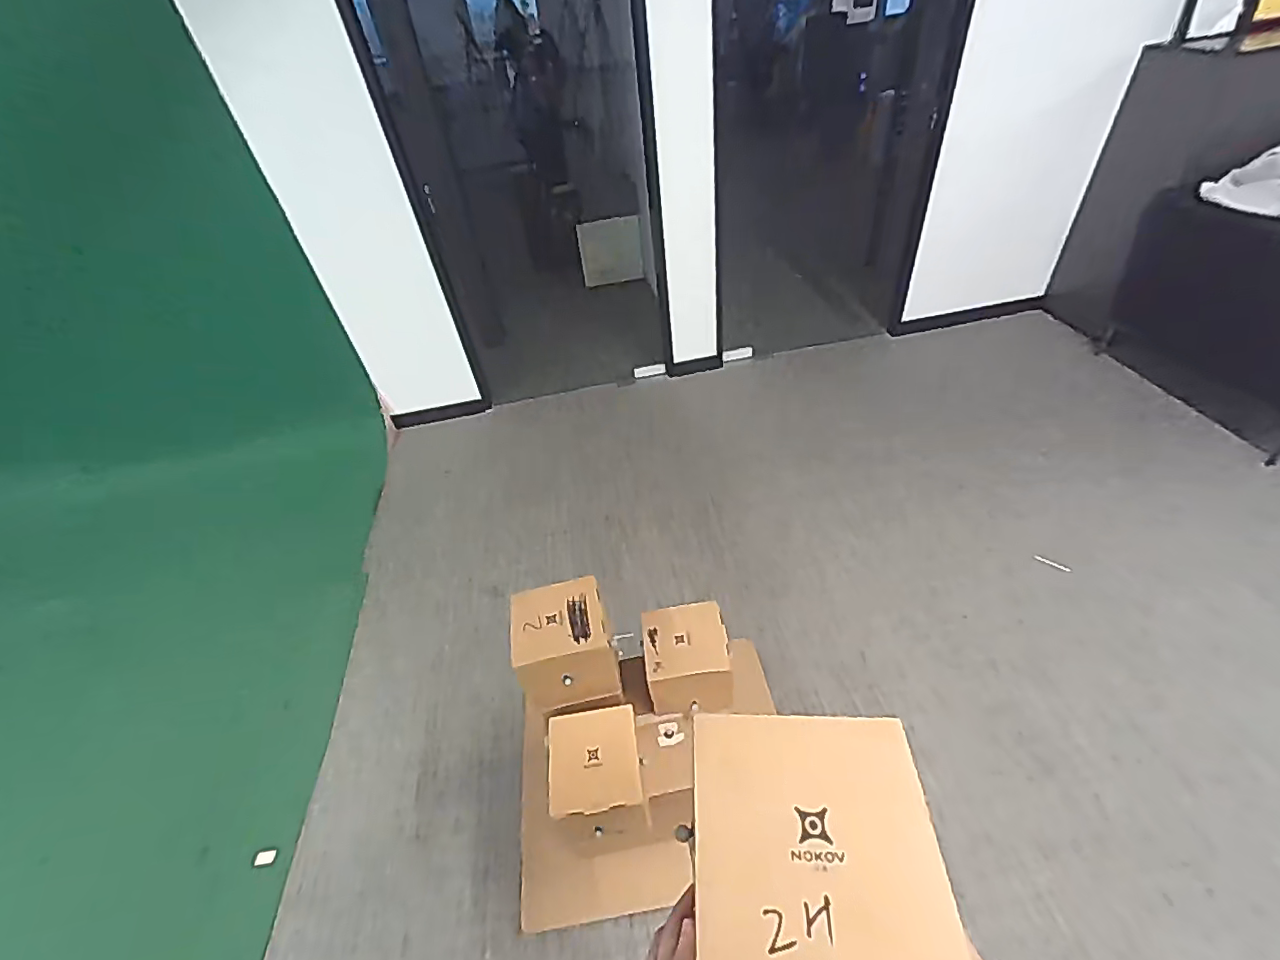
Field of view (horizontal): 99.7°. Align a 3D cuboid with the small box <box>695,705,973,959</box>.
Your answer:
[{"bbox_3d":[0.128,0.304,0.428,0.168,0.176,0.179,-1,42,6],"label":"small box"}]

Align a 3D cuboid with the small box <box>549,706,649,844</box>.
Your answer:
[{"bbox_3d":[-0.078,0.566,1.038,0.168,0.176,0.179,-9,44,-2],"label":"small box"}]

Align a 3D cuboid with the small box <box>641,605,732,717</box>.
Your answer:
[{"bbox_3d":[0.102,0.399,1.188,0.179,0.176,0.168,-9,43,3],"label":"small box"}]
